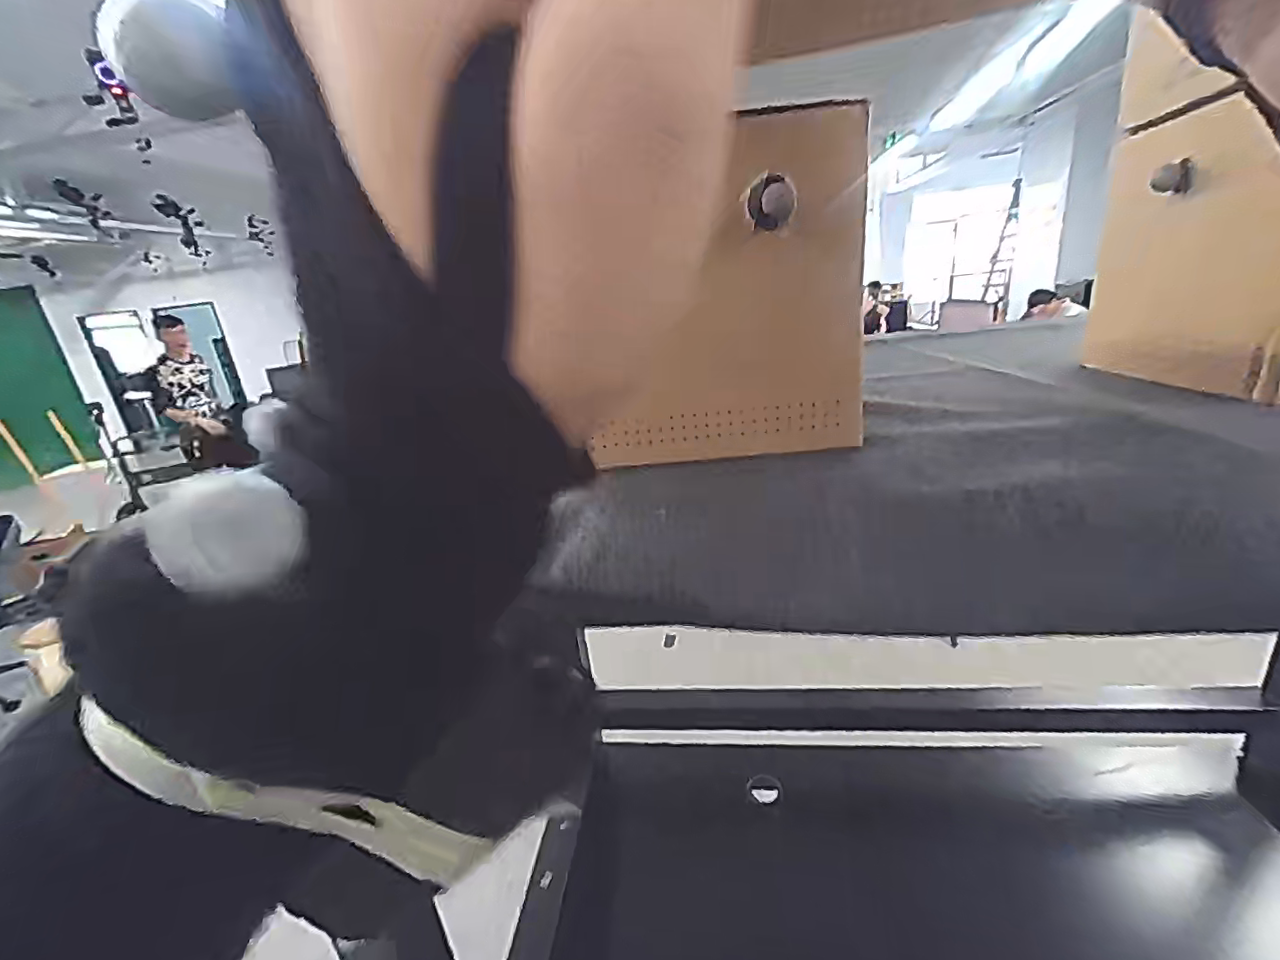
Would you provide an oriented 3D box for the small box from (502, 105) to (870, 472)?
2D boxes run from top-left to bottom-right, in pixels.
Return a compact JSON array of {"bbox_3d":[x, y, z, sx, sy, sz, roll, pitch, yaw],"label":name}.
[{"bbox_3d":[0.031,-0.111,0.352,0.179,0.176,0.168,-5,17,5],"label":"small box"}]

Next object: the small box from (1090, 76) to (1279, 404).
[{"bbox_3d":[0.413,-0.141,0.318,0.168,0.176,0.179,-3,18,11],"label":"small box"}]

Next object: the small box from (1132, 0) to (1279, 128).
[{"bbox_3d":[0.392,-0.293,0.258,0.179,0.176,0.168,-4,17,12],"label":"small box"}]

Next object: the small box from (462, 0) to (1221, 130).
[{"bbox_3d":[0.035,-0.187,0.076,0.179,0.176,0.168,-15,58,-5],"label":"small box"}]
